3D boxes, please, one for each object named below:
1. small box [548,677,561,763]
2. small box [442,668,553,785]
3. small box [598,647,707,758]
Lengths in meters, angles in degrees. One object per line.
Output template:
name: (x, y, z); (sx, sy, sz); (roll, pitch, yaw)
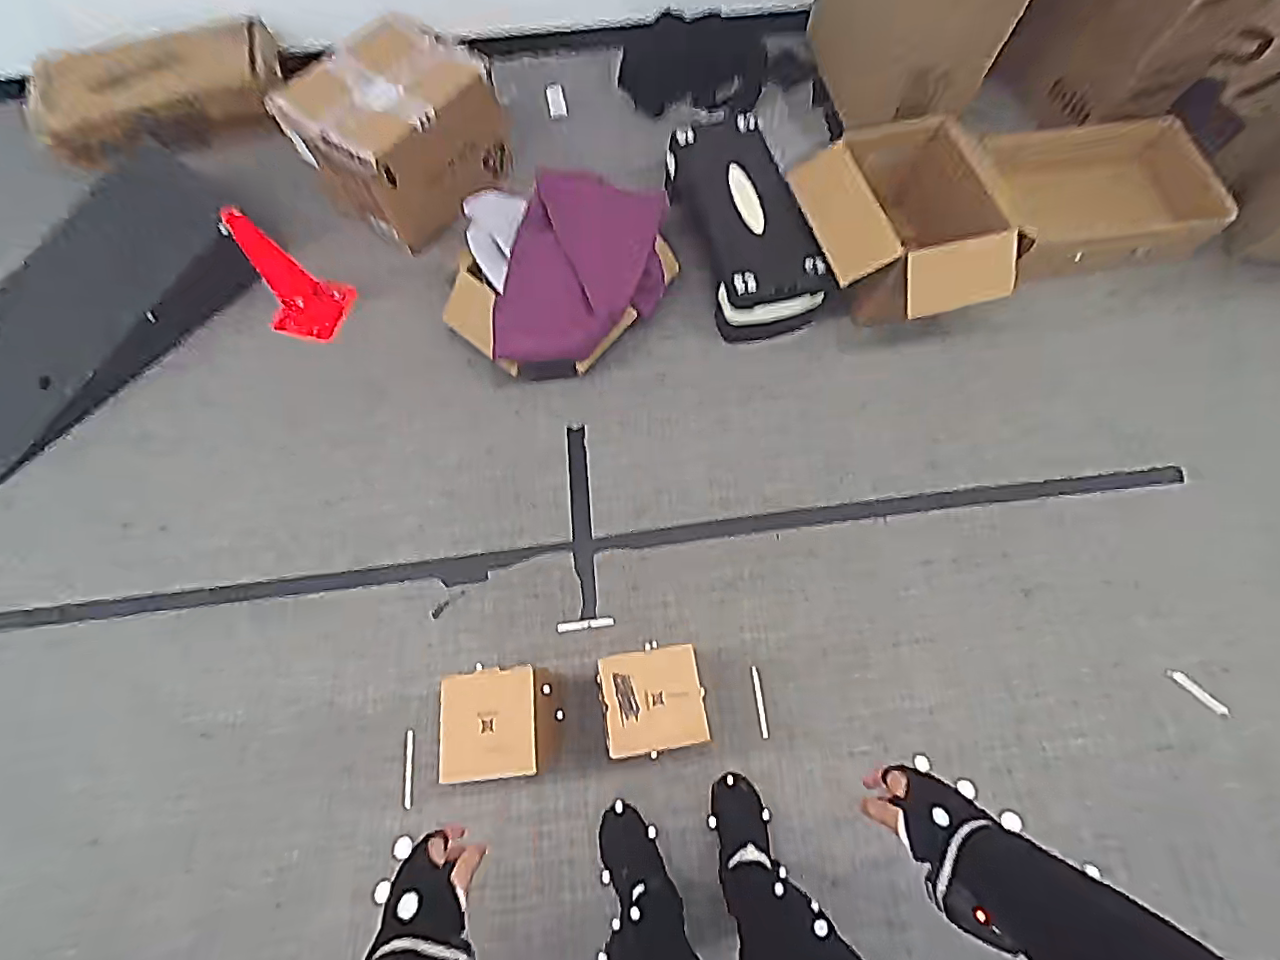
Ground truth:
small box: (-0.267, 0.519, 1.170); (0.179, 0.176, 0.168); (-5, 69, -1)
small box: (-0.261, 0.457, 1.020); (0.168, 0.176, 0.179); (-6, 71, -1)
small box: (0.021, 0.421, 1.031); (0.179, 0.176, 0.168); (-8, 69, -4)
